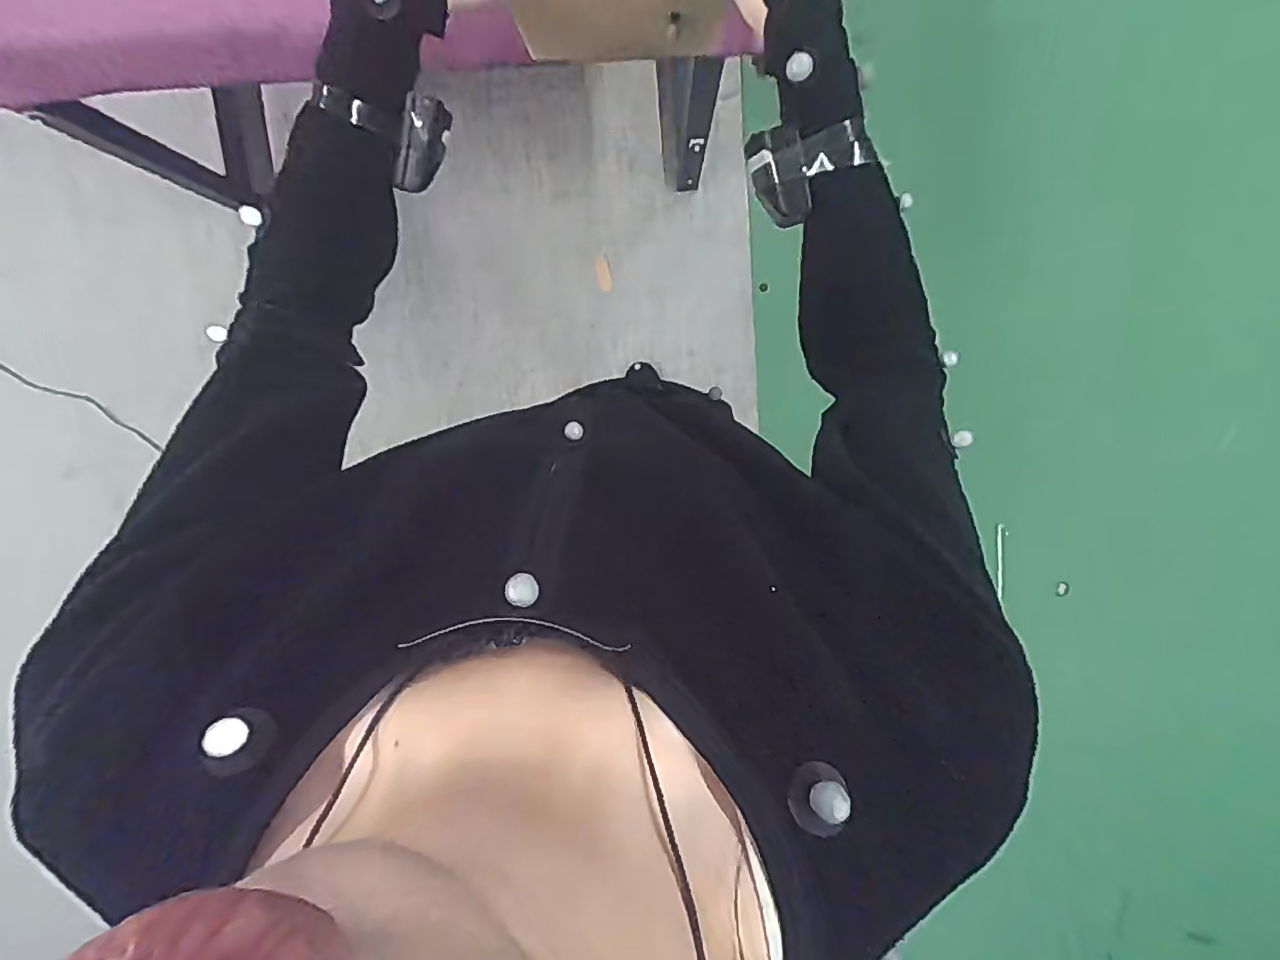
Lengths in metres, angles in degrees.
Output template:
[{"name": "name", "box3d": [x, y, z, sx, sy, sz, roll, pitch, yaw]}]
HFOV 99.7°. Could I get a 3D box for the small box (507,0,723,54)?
[{"name": "small box", "box3d": [-0.019, -0.455, 0.413, 0.179, 0.176, 0.168, -1, 112, 0]}]
